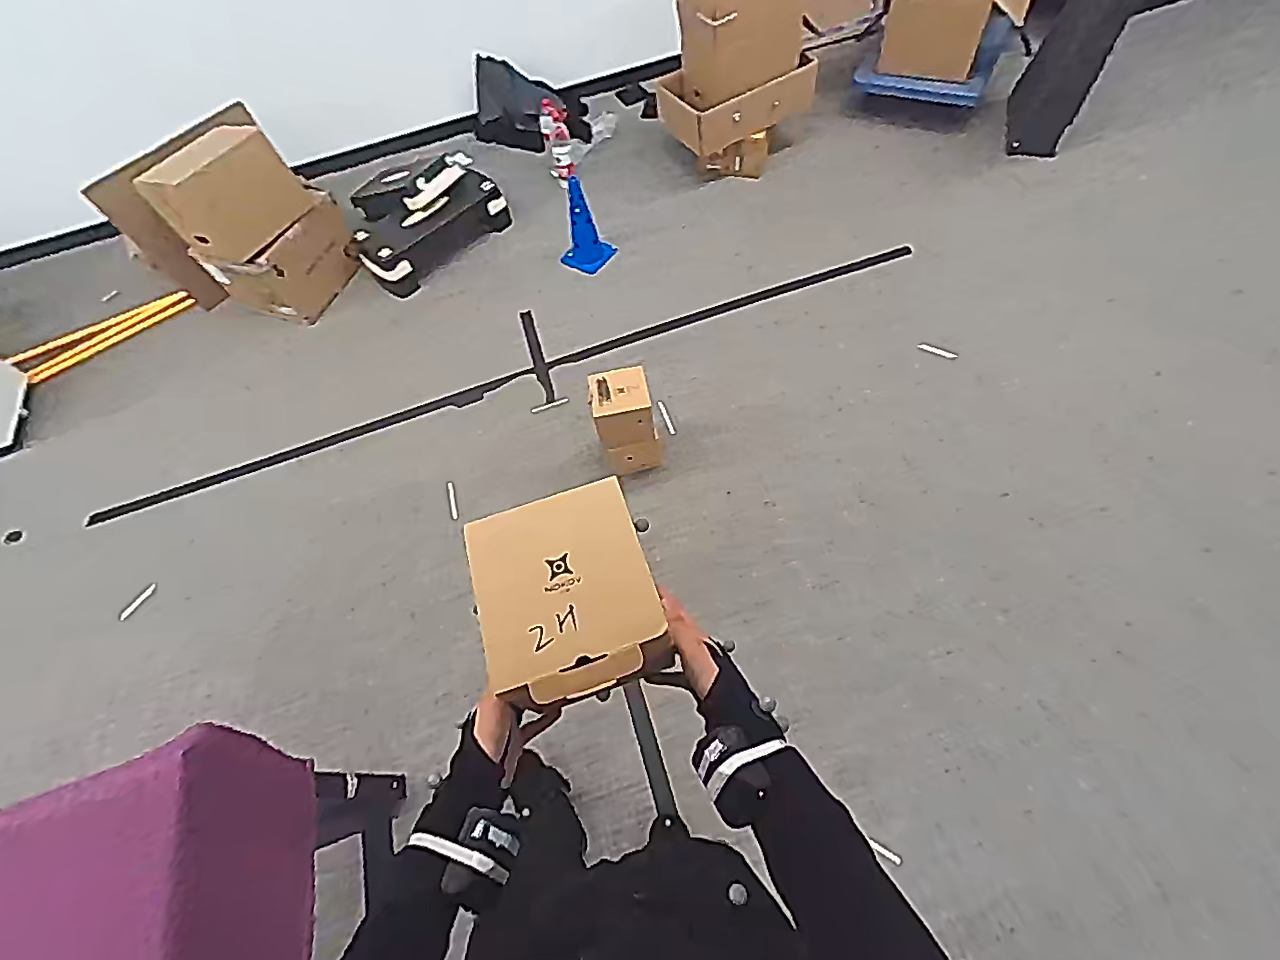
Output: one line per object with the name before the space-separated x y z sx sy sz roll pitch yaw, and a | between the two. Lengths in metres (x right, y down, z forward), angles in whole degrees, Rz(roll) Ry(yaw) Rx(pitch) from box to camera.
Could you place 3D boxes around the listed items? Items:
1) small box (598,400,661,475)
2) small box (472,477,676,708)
small box | -0.032 -0.134 1.819 0.168 0.176 0.179 -15 59 -2
small box | -0.065 0.128 0.585 0.168 0.176 0.179 -17 62 -4
